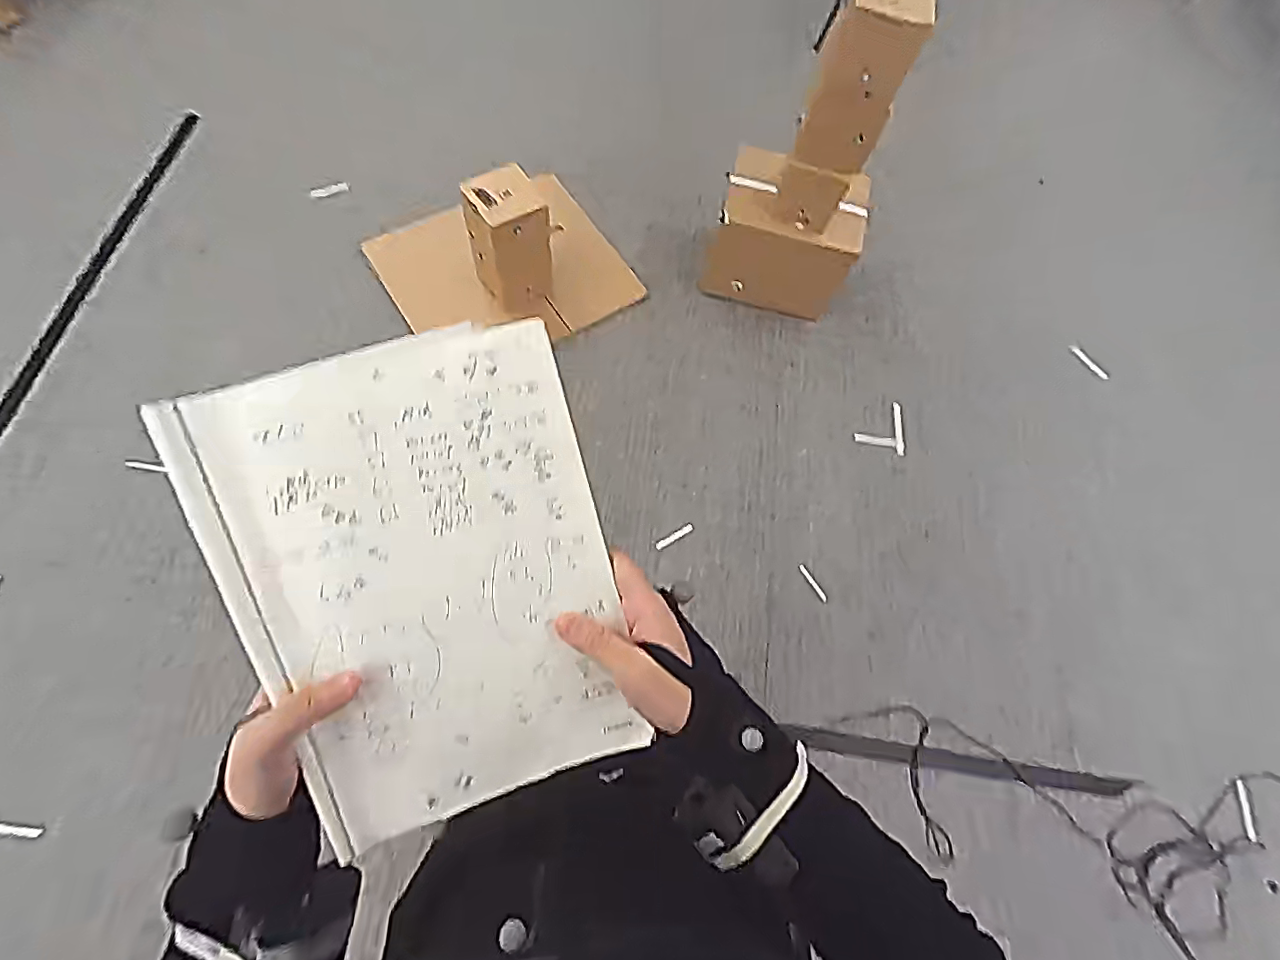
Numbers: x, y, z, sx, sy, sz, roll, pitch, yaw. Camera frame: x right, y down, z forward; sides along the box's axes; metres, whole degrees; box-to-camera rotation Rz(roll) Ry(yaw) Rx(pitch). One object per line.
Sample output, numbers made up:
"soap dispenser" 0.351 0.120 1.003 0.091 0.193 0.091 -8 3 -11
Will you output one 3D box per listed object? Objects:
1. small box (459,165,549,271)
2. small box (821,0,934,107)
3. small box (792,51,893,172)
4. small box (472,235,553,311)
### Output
"small box" -0.361 -0.705 1.471 0.179 0.176 0.168 -33 77 -18
"small box" 0.507 -0.958 1.167 0.168 0.176 0.179 14 68 0
"small box" 0.490 -0.887 1.315 0.179 0.176 0.168 12 68 0
"small box" -0.380 -0.647 1.624 0.179 0.176 0.168 -34 77 -19
